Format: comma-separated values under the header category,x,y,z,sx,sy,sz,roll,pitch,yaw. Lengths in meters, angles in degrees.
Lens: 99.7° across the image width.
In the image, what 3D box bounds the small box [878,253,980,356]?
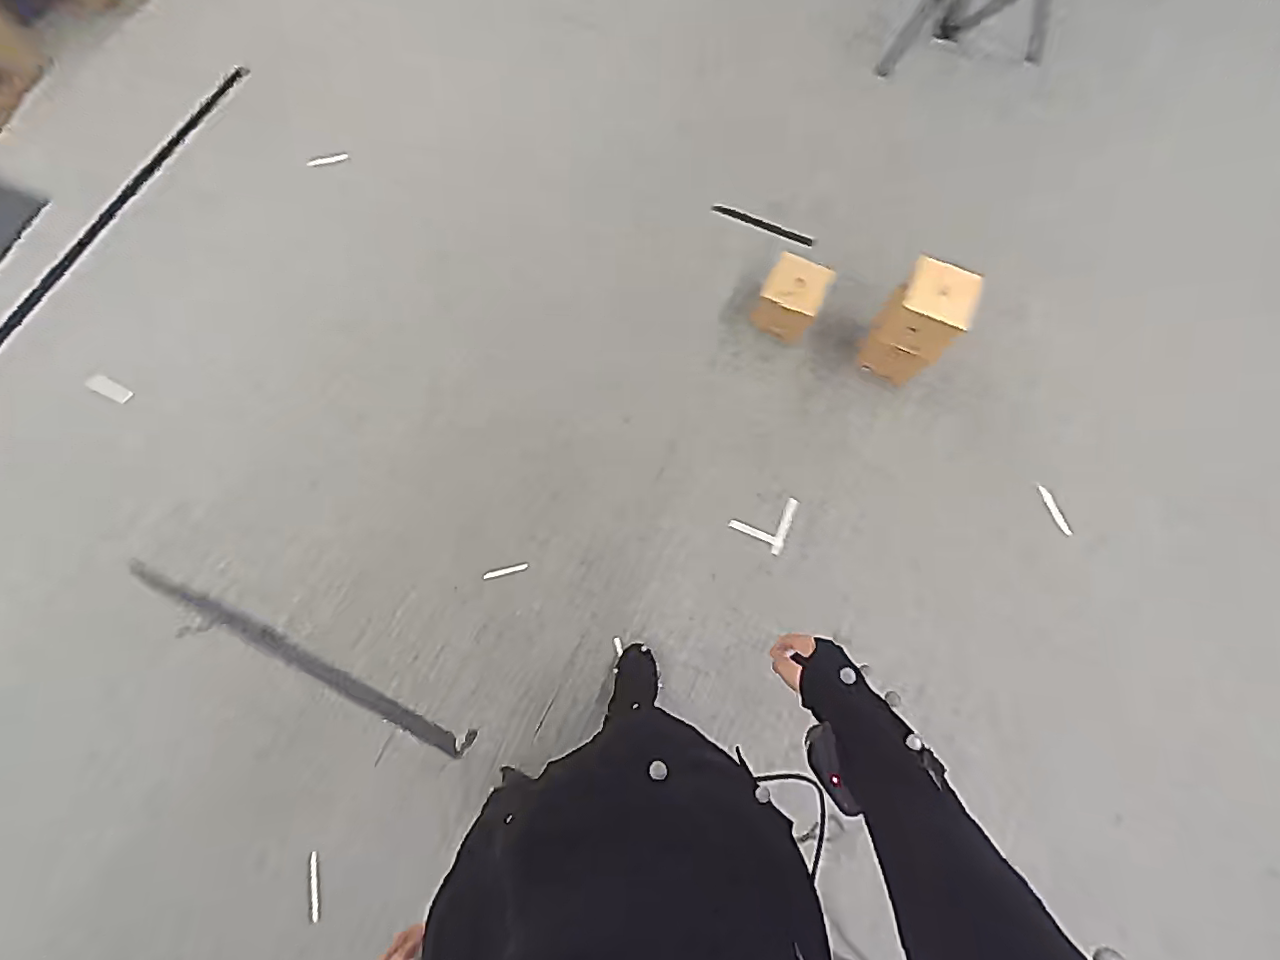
category,x,y,z,sx,sy,sz,roll,pitch,yaw
small box,0.766,-0.464,1.453,0.168,0.176,0.179,23,74,5

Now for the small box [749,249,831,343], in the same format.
category,x,y,z,sx,sy,sz,roll,pitch,yaw
small box,0.448,-0.554,1.641,0.168,0.176,0.179,25,76,6

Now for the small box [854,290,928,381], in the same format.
category,x,y,z,sx,sy,sz,roll,pitch,yaw
small box,0.760,-0.421,1.610,0.168,0.176,0.179,22,74,5
